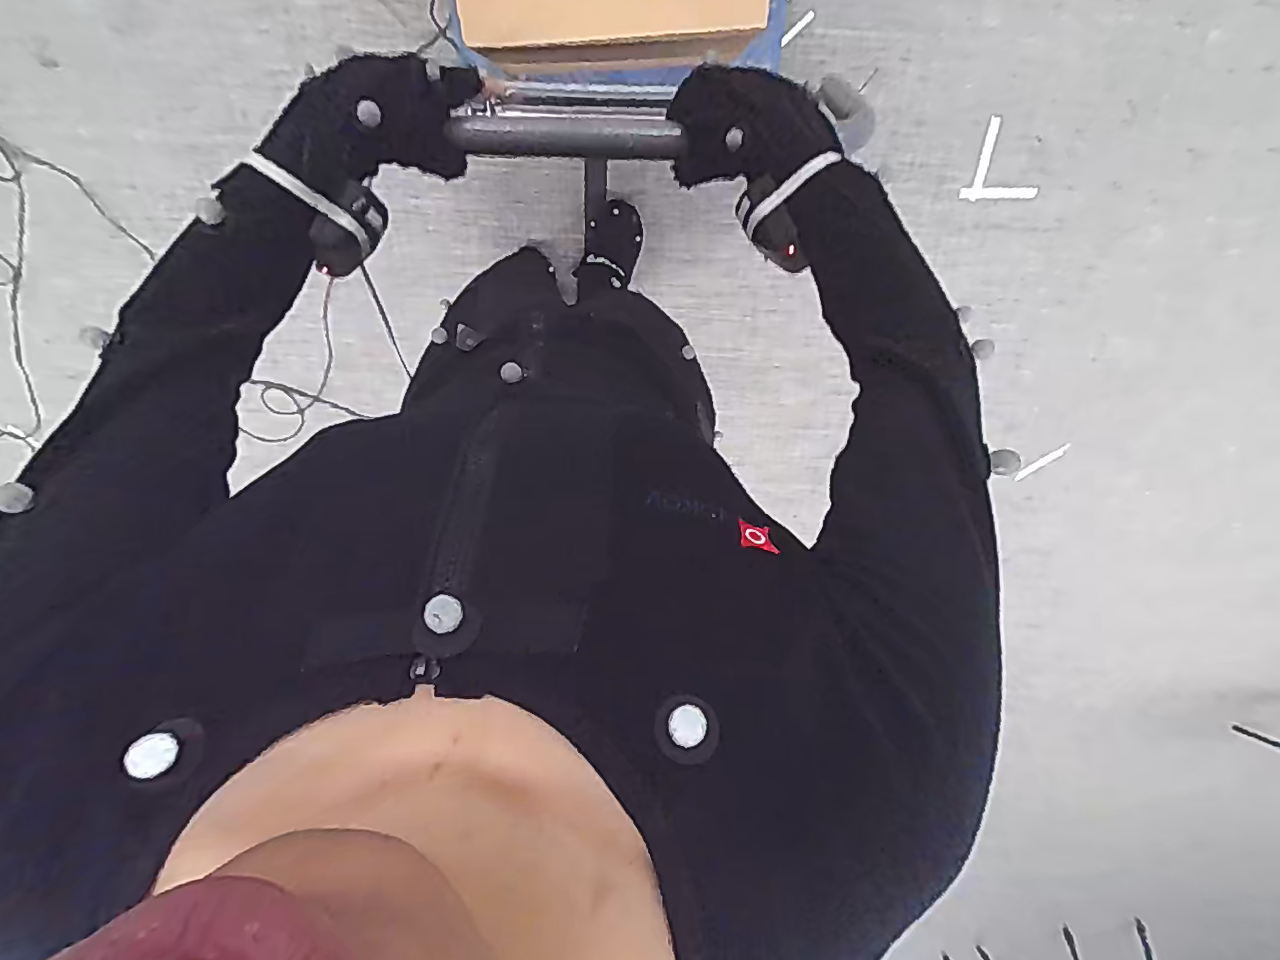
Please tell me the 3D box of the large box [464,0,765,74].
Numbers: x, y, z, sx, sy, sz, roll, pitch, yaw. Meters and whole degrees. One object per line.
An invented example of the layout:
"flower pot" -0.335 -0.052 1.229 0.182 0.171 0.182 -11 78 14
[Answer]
"large box" -0.046 -0.809 0.777 0.408 0.320 0.320 -4 122 1
